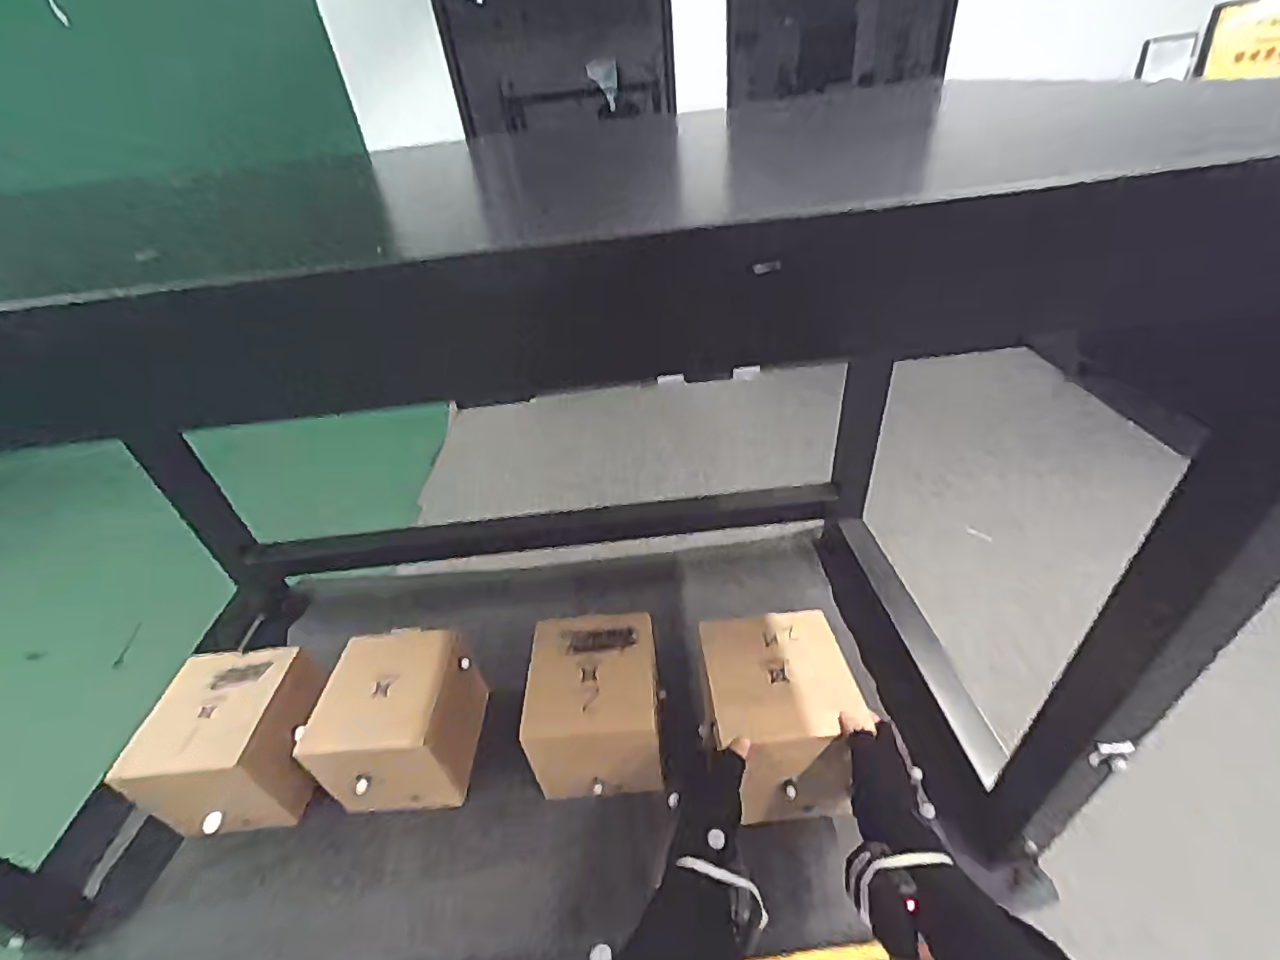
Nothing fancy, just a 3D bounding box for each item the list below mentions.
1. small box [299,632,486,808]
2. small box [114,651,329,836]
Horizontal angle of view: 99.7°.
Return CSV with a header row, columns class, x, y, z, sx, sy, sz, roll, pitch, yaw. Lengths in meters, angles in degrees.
class,x,y,z,sx,sy,sz,roll,pitch,yaw
small box,-0.333,0.346,0.773,0.168,0.176,0.179,-5,35,2
small box,-0.559,0.372,0.770,0.168,0.176,0.179,-6,36,1
